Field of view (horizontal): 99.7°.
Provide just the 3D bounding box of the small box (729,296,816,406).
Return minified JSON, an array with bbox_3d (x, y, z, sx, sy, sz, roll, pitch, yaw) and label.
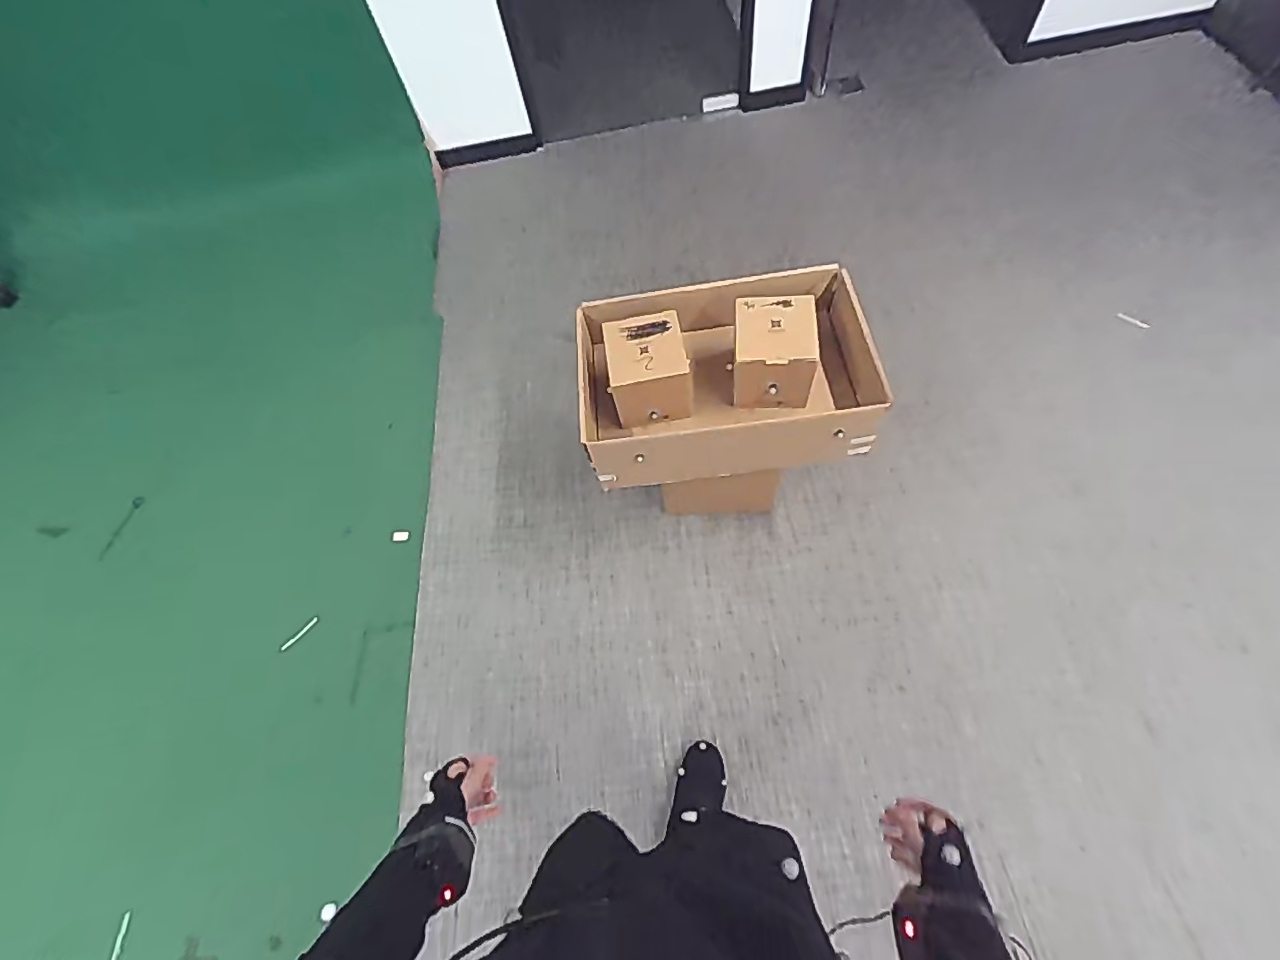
[{"bbox_3d":[0.285,-0.277,1.182,0.168,0.176,0.179,2,64,7],"label":"small box"}]
